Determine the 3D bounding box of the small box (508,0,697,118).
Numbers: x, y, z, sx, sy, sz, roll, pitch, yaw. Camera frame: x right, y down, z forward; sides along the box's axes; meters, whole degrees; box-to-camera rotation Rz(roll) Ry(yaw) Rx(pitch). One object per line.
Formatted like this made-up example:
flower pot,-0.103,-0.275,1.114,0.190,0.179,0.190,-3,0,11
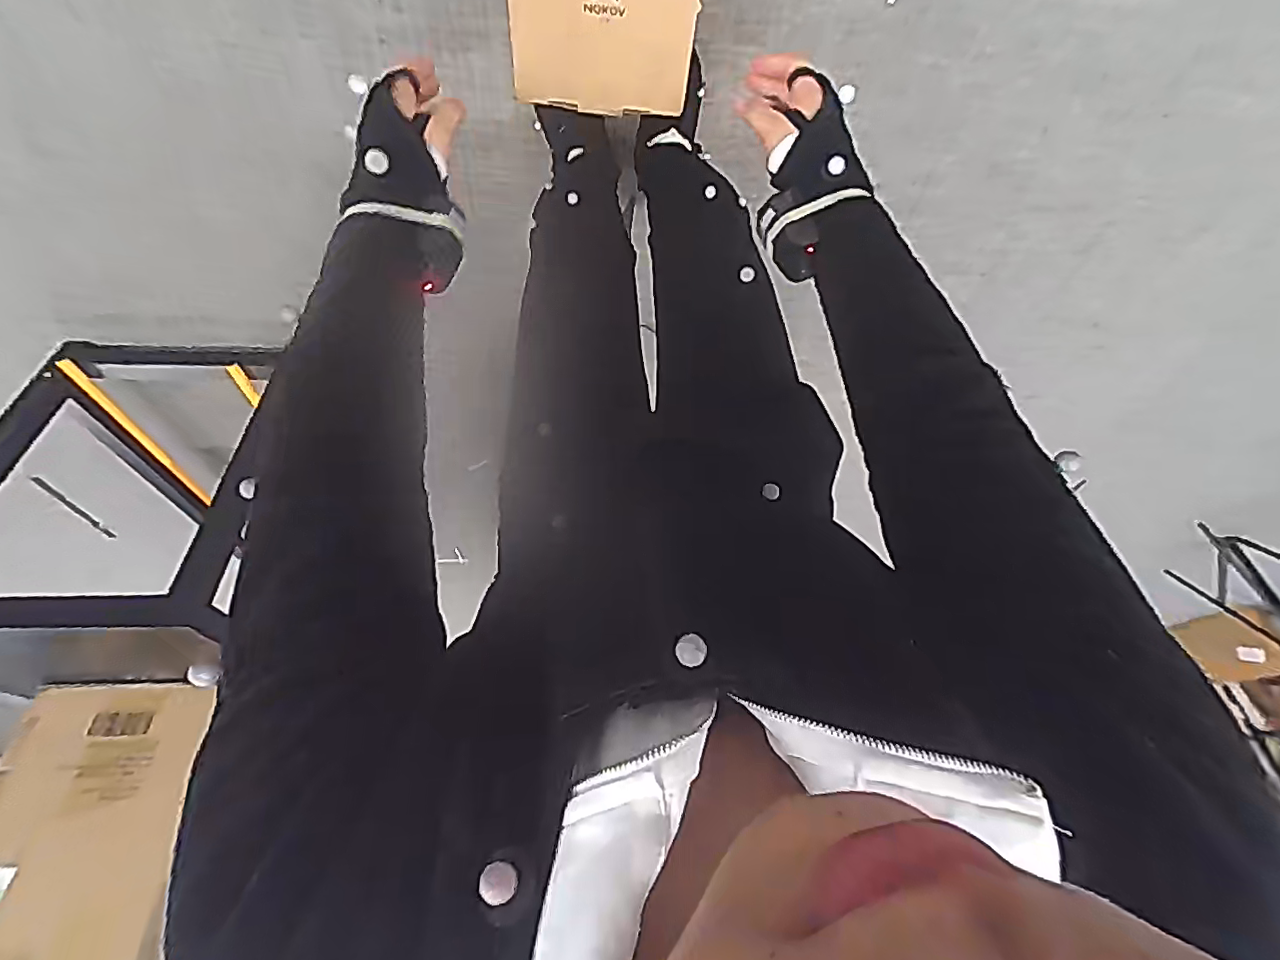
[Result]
small box,-0.034,-0.481,0.508,0.168,0.176,0.179,1,146,-6
